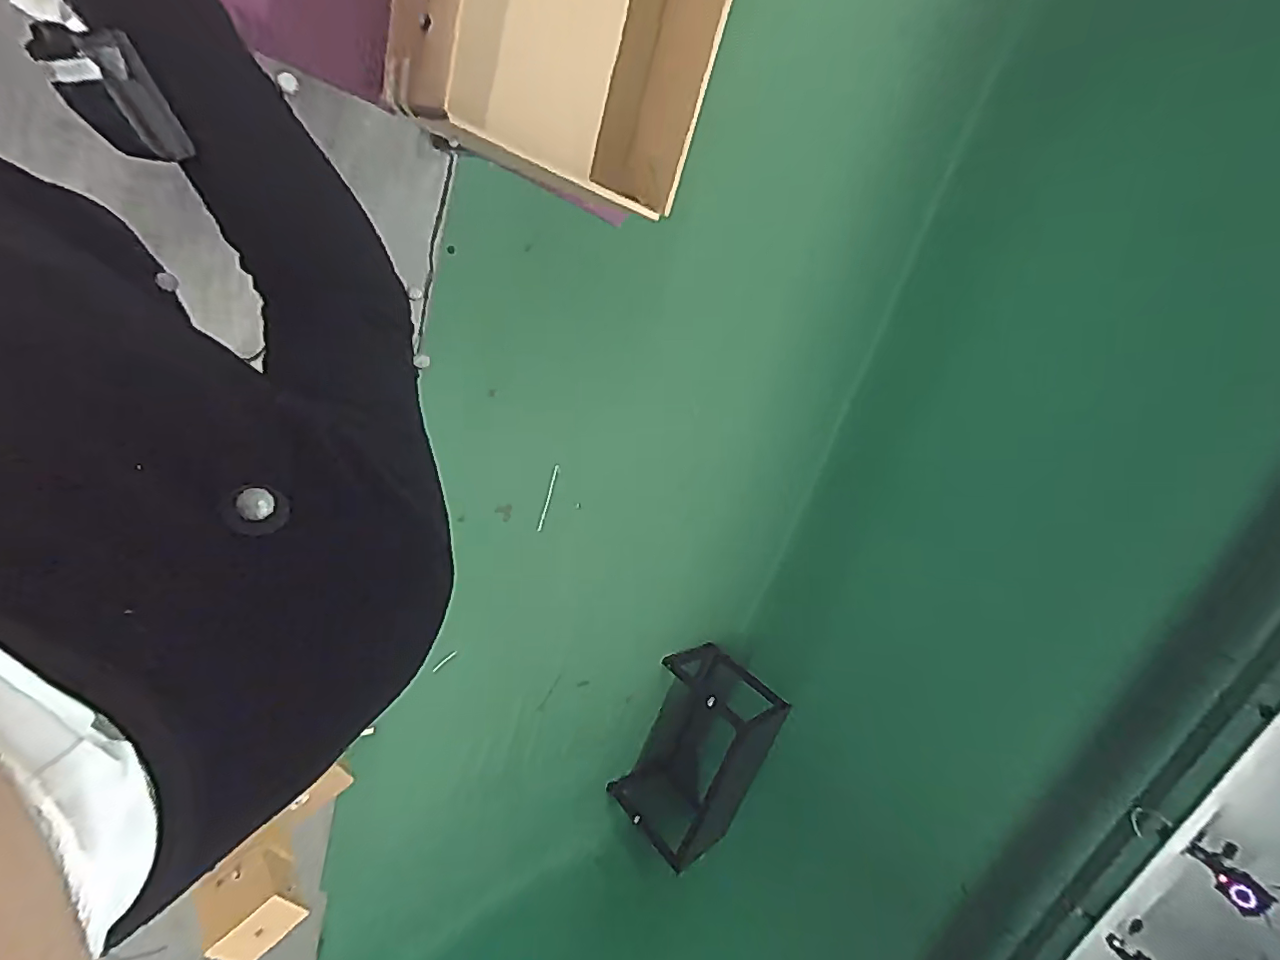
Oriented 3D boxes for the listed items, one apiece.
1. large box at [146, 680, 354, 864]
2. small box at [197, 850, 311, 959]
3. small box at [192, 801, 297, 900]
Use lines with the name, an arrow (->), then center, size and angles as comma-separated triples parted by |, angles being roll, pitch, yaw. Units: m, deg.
large box -> -1.223, 0.936, 1.718 | 0.408, 0.320, 0.320 | -36, 139, -27
small box -> -1.005, 1.116, 1.410 | 0.168, 0.176, 0.179 | -35, 136, -28
small box -> -1.113, 1.053, 1.515 | 0.179, 0.176, 0.168 | -36, 137, -27
